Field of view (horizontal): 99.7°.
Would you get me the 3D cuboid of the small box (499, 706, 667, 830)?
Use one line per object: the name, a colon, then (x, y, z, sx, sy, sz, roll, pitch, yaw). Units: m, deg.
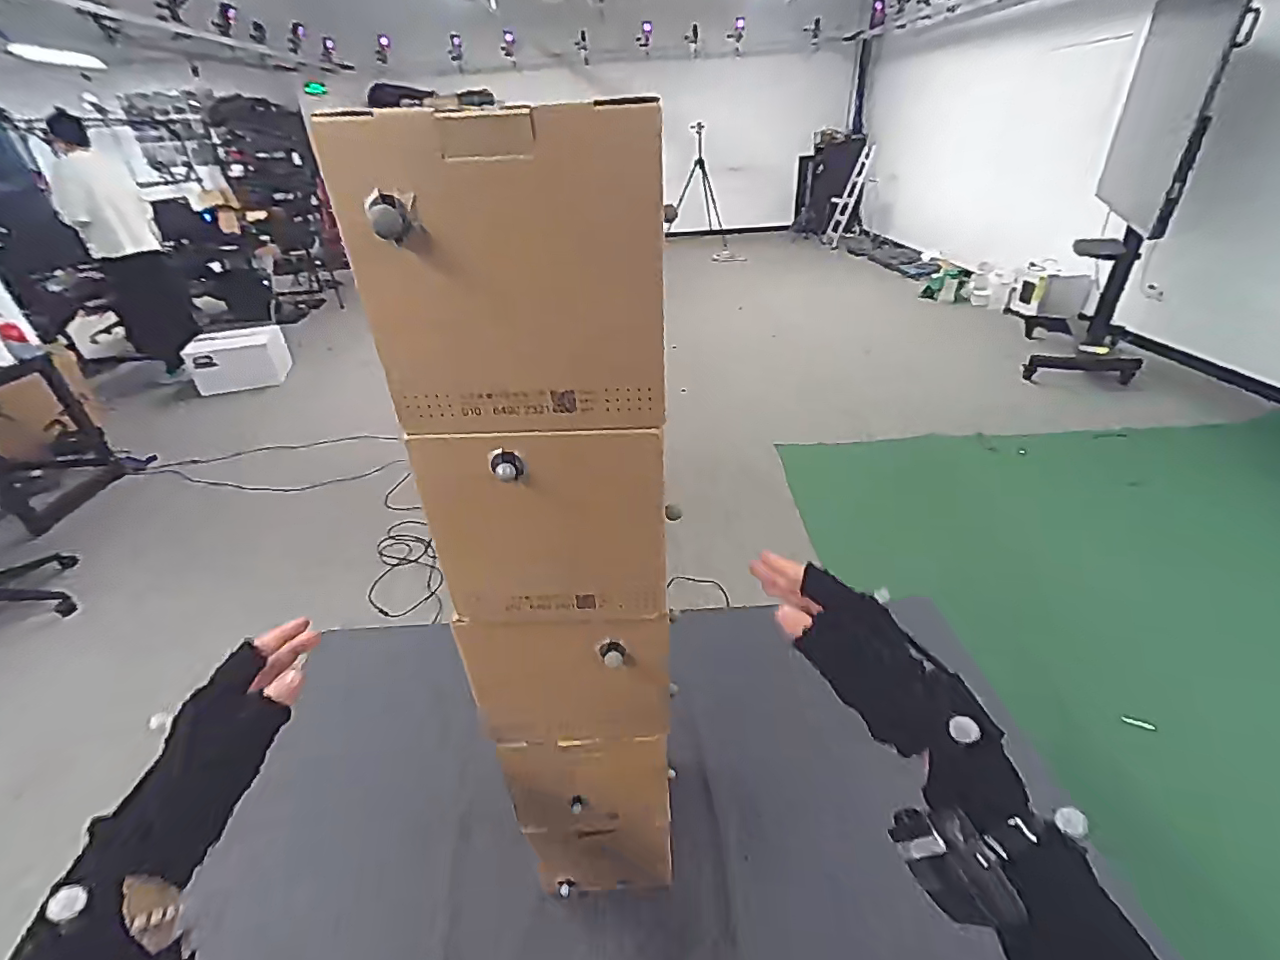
small box: (-0.056, 0.275, 0.636, 0.168, 0.176, 0.179, -3, 33, 0)

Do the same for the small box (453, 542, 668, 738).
small box: (-0.062, 0.138, 0.545, 0.179, 0.176, 0.168, -3, 32, 1)

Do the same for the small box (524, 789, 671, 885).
small box: (-0.048, 0.411, 0.723, 0.168, 0.176, 0.179, -4, 31, 0)

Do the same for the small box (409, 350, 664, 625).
small box: (-0.065, -0.001, 0.458, 0.168, 0.176, 0.179, -2, 32, 2)
